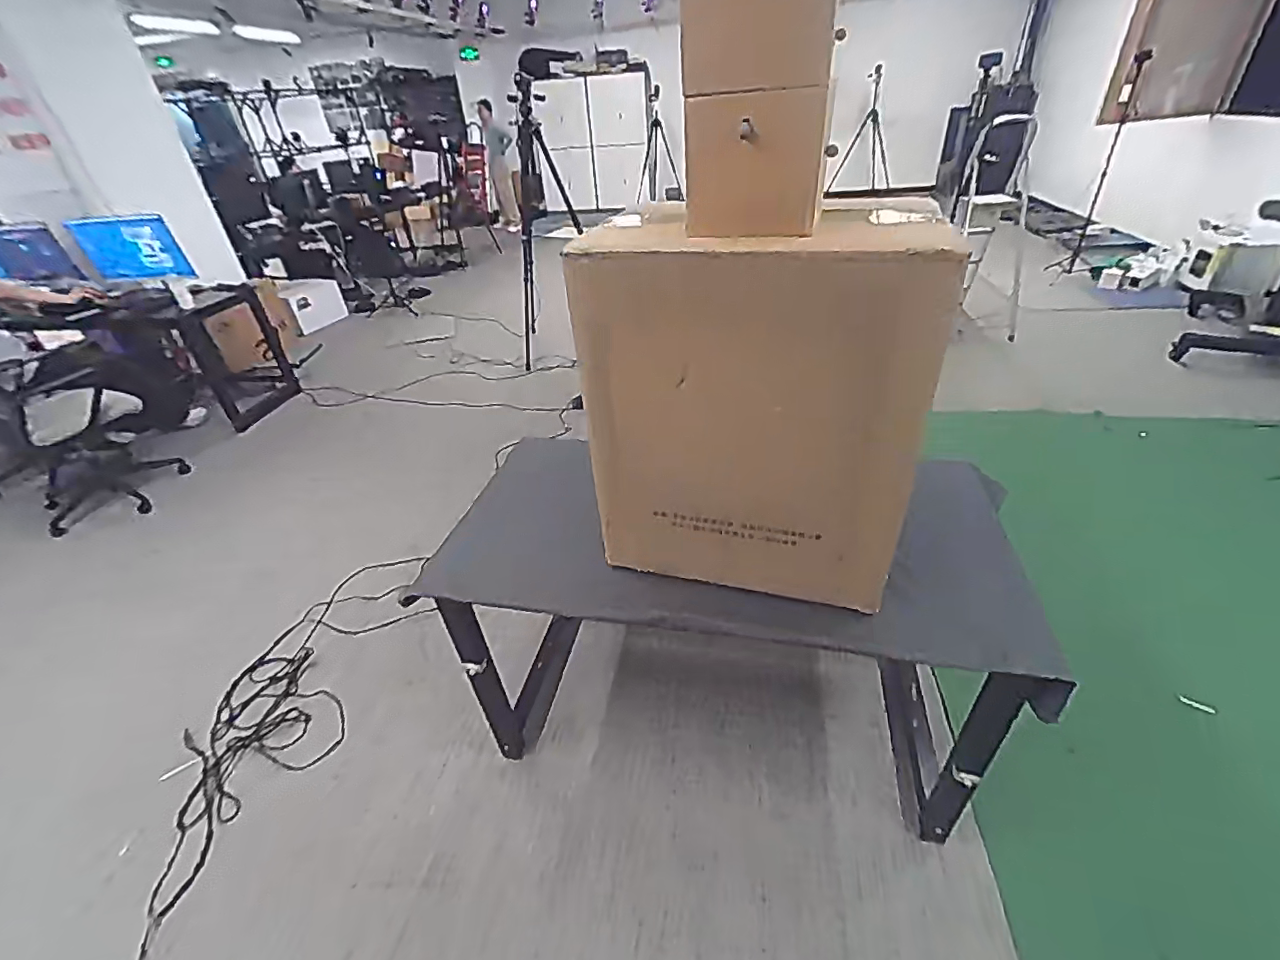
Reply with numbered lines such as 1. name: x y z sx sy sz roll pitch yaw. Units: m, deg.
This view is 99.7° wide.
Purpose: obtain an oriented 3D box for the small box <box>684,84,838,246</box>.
1. small box: 0.167 -0.433 0.750 0.179 0.176 0.168 8 39 18
